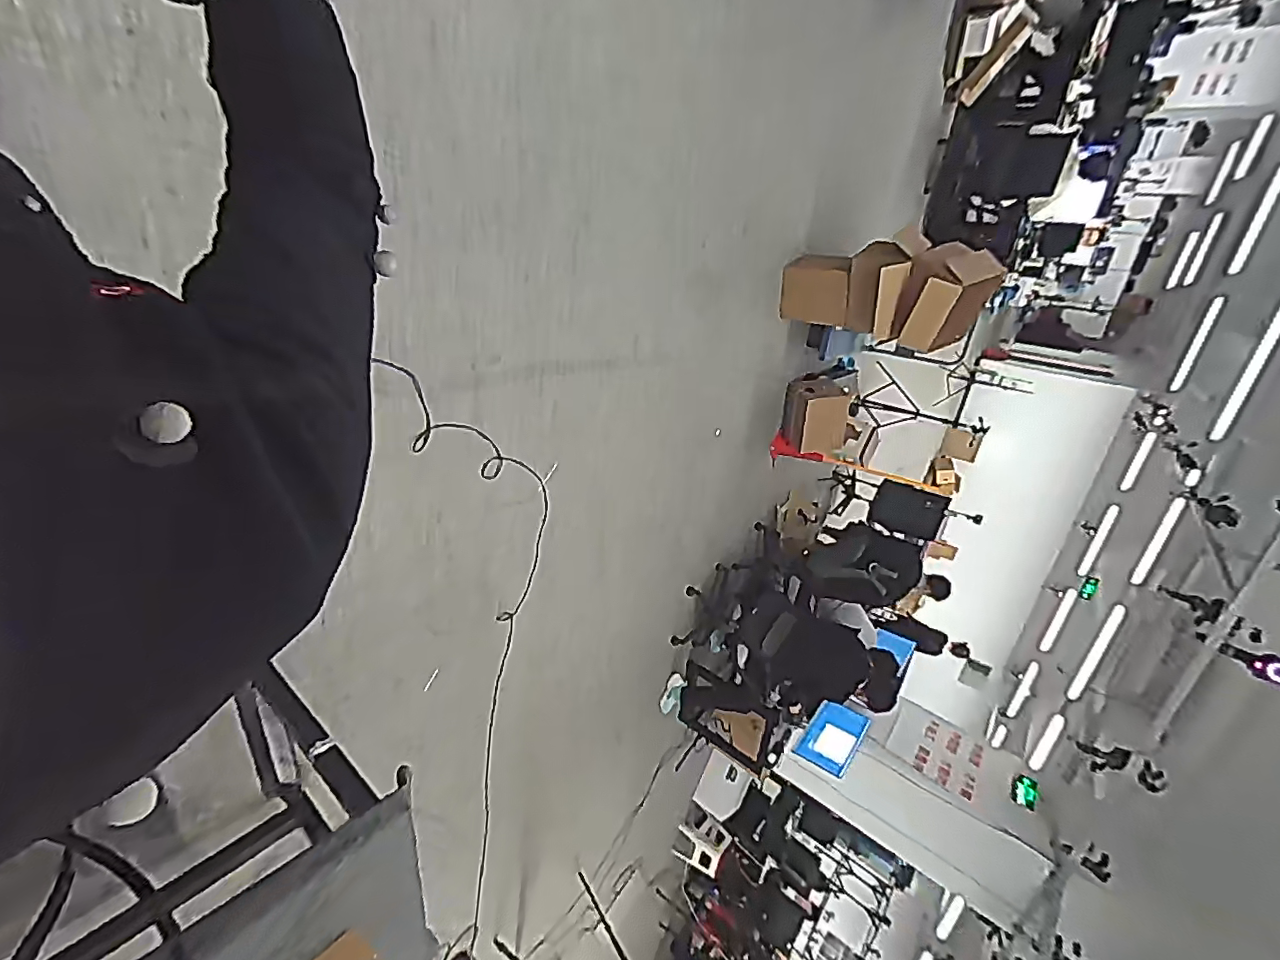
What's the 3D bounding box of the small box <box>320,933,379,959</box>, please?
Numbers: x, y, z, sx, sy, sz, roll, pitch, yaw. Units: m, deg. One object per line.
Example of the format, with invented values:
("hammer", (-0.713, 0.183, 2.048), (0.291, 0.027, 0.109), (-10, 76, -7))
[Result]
("small box", (-0.568, 1.024, 1.026), (0.168, 0.176, 0.179), (-24, 127, -46))
